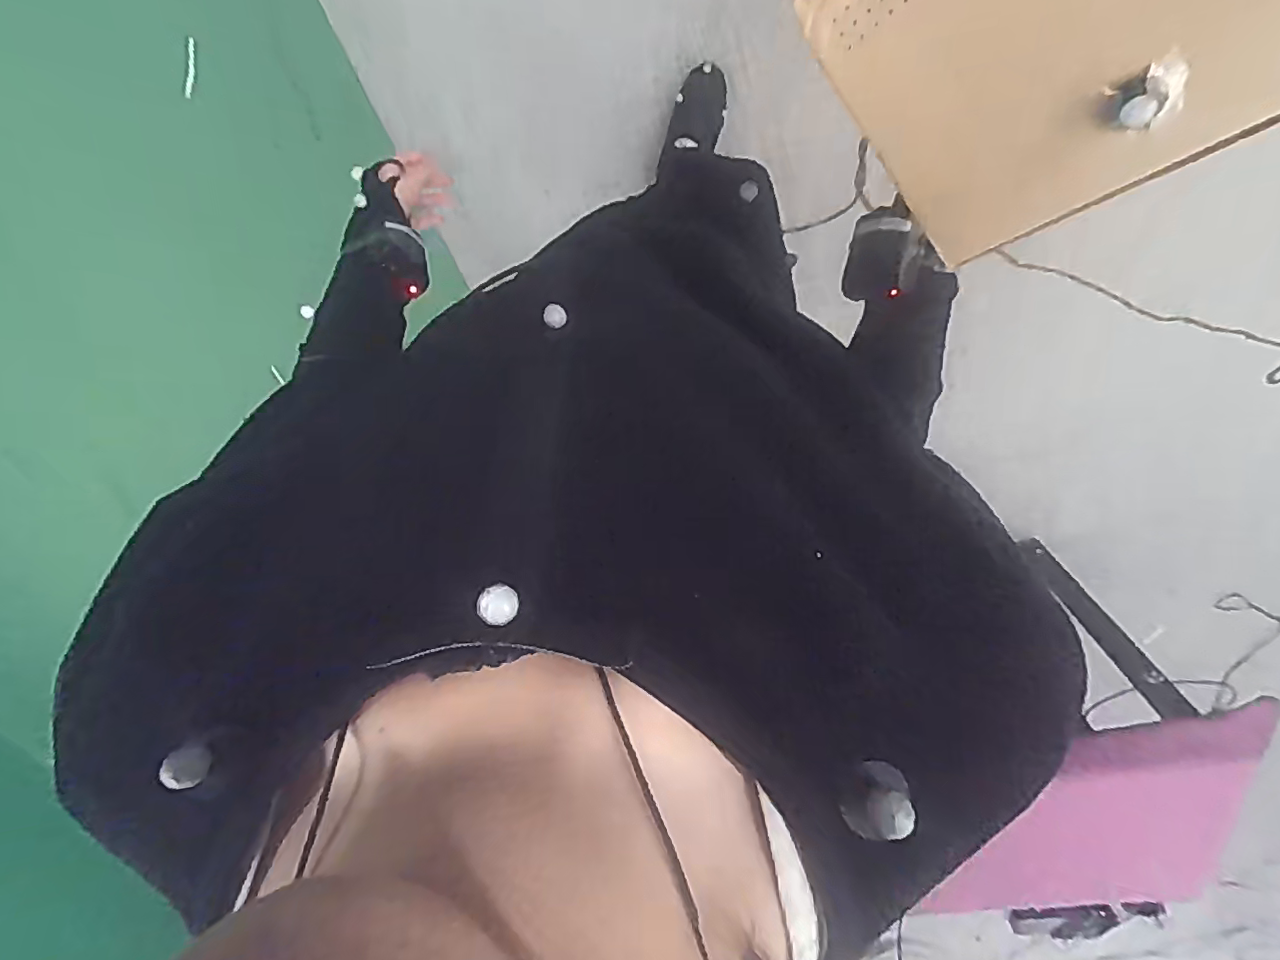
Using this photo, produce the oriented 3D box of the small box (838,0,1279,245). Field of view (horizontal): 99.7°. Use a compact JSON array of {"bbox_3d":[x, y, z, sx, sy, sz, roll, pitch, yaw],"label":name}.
[{"bbox_3d":[0.202,-0.255,0.238,0.176,0.168,0.179,38,147,-28],"label":"small box"}]
